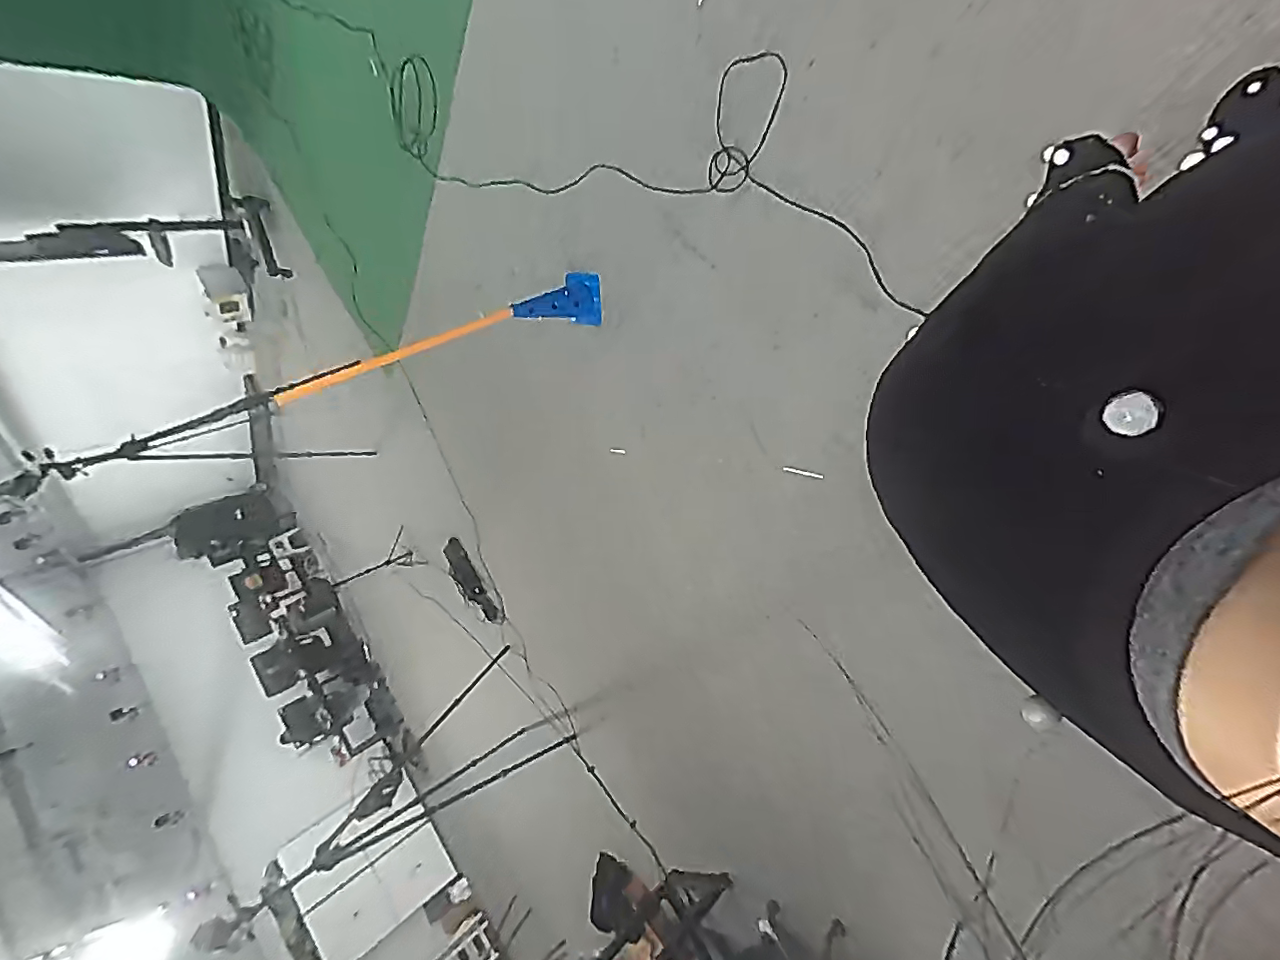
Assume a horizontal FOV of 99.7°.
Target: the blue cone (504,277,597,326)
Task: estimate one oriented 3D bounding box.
[{"bbox_3d":[-0.354,-0.666,2.096,0.192,0.380,0.193,18,124,39],"label":"blue cone"}]
